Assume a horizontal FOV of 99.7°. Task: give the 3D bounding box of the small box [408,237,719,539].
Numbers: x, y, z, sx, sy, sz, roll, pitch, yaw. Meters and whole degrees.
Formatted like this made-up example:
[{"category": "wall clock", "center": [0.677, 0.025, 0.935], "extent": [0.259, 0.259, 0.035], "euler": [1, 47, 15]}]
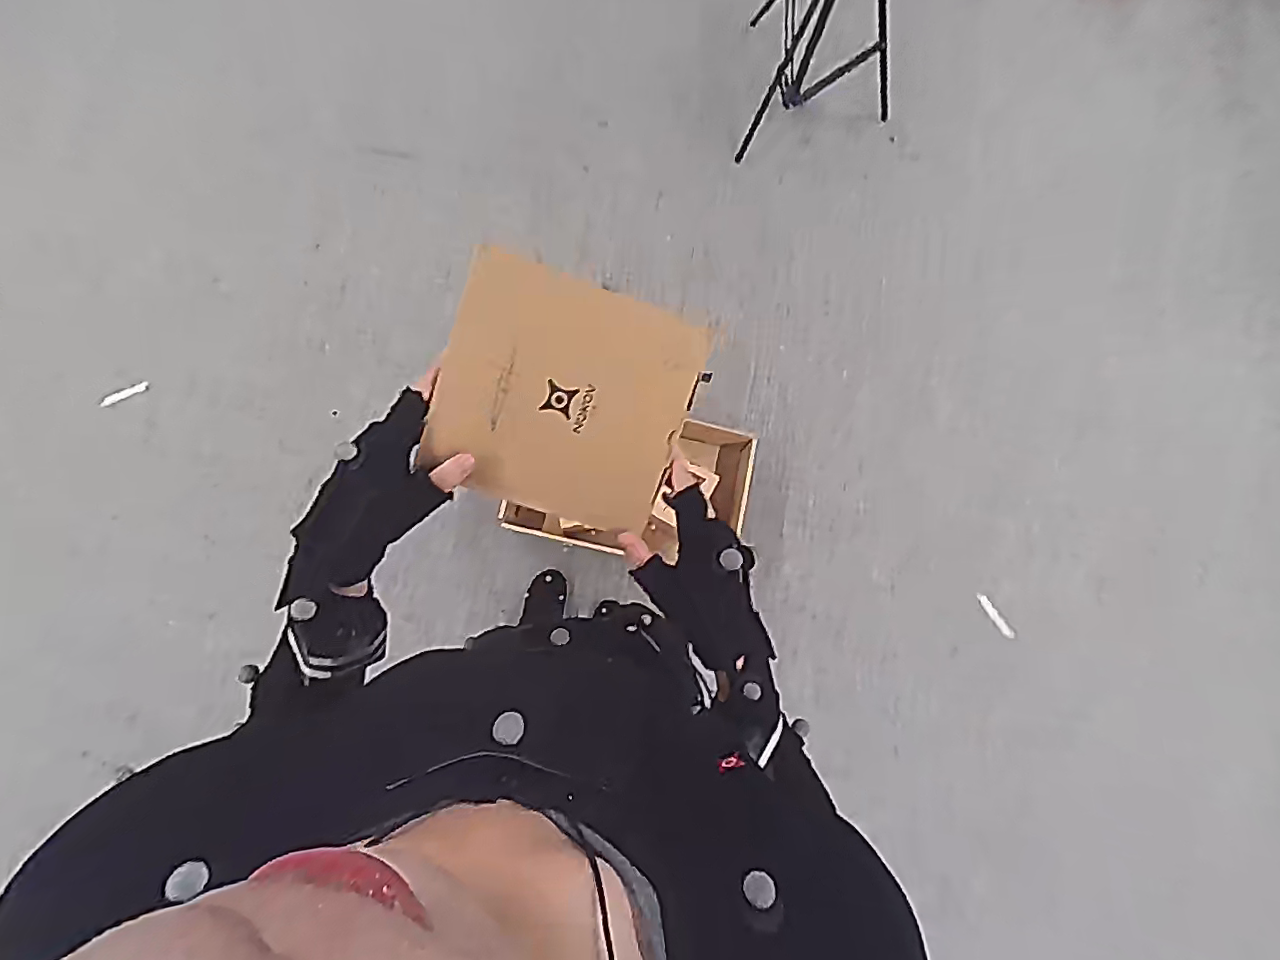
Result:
[{"category": "small box", "center": [-0.060, -0.071, 0.448], "extent": [0.179, 0.176, 0.168], "euler": [17, 97, -9]}]
